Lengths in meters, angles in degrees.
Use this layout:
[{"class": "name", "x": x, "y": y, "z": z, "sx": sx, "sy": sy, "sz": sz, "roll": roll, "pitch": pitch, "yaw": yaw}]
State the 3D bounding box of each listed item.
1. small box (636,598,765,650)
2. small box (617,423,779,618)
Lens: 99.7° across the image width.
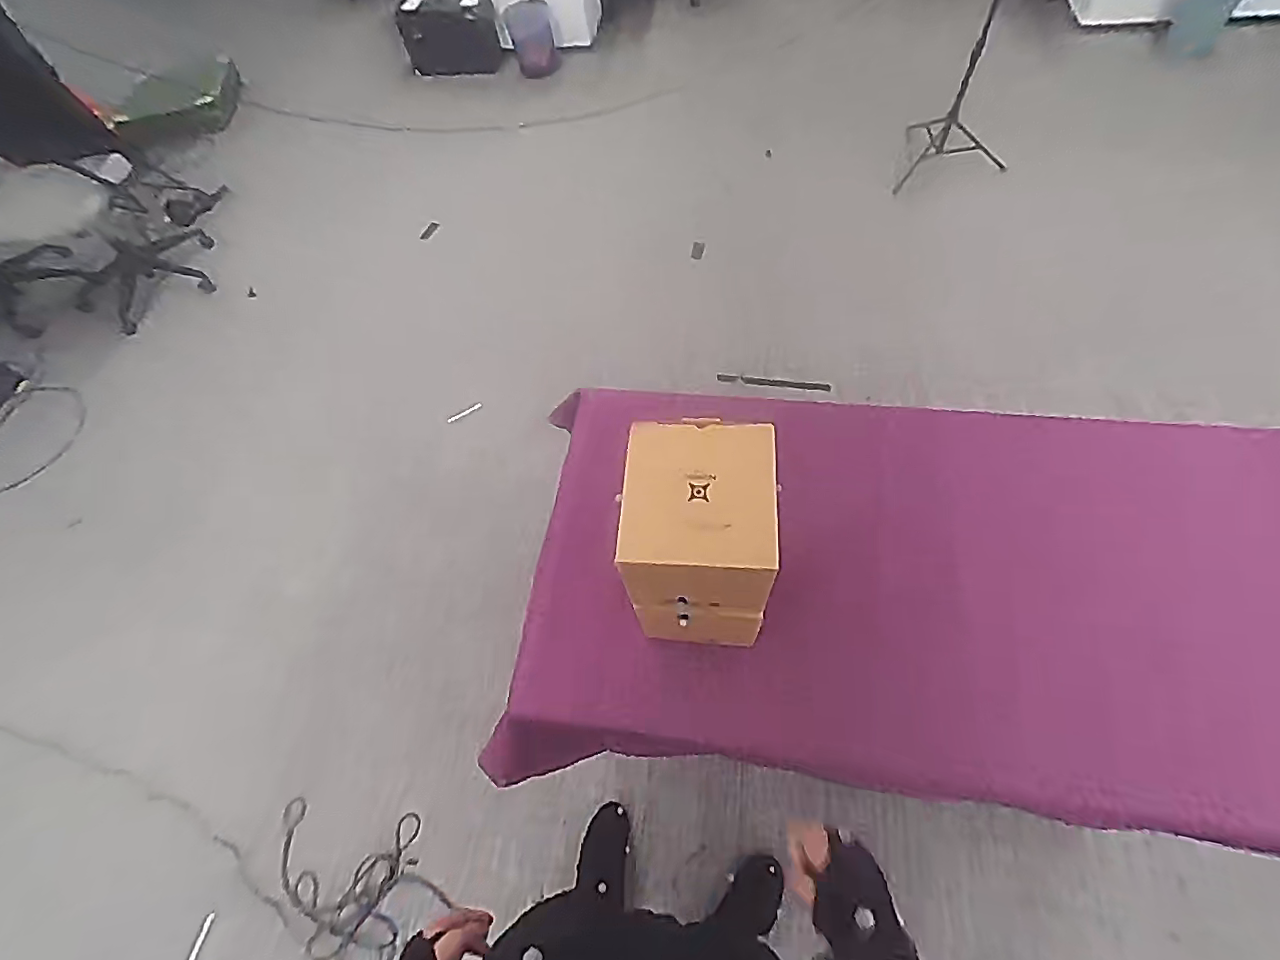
[{"class": "small box", "x": 0.093, "y": 0.134, "z": 0.791, "sx": 0.168, "sy": 0.176, "sz": 0.179, "roll": 4, "pitch": 61, "yaw": 9}, {"class": "small box", "x": 0.073, "y": 0.052, "z": 0.651, "sx": 0.168, "sy": 0.176, "sz": 0.179, "roll": 2, "pitch": 61, "yaw": 8}]
